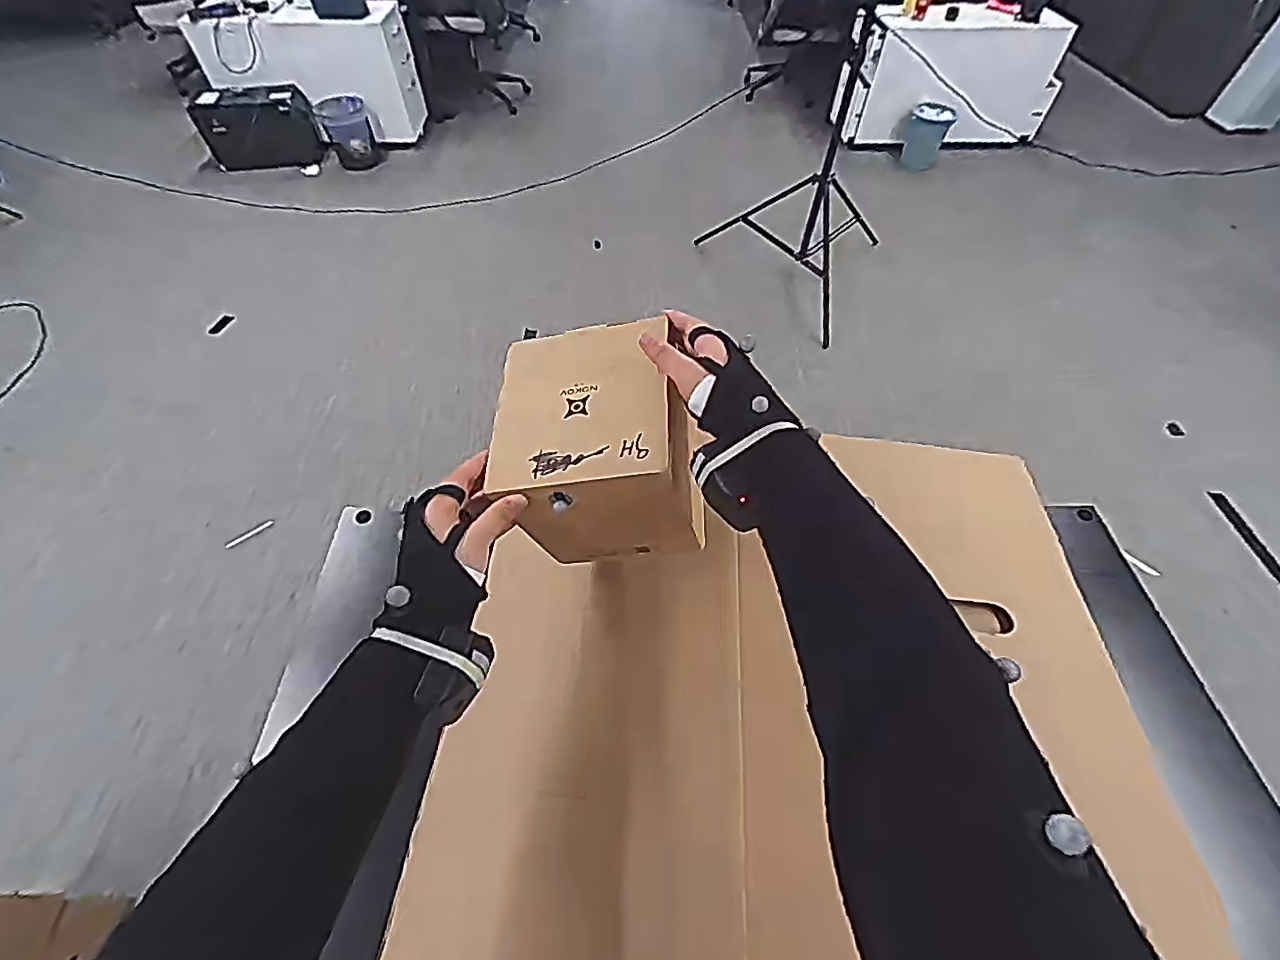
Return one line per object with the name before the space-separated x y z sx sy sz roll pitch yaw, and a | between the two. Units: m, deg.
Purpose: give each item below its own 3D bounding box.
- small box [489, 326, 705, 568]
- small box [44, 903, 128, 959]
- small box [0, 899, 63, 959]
small box | -0.029 -0.025 0.559 0.168 0.176 0.179 -7 57 15
small box | -1.133 0.913 1.015 0.168 0.176 0.179 -4 54 -3
small box | -1.133 0.810 0.889 0.168 0.176 0.179 -6 52 -6
